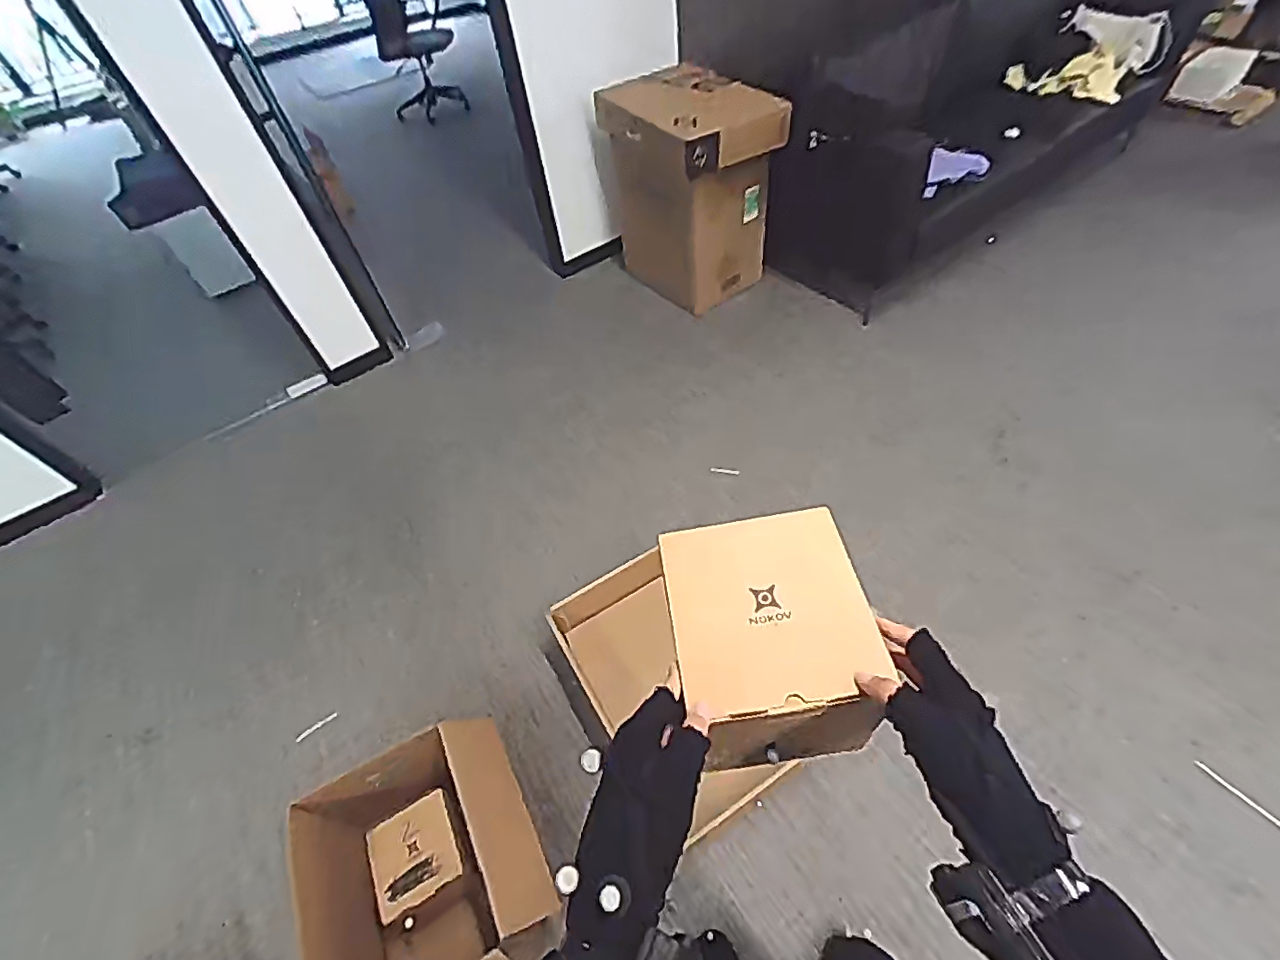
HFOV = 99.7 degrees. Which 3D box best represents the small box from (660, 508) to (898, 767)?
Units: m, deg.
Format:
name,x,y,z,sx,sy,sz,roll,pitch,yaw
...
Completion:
name,x,y,z,sx,sy,sz,roll,pitch,yaw
small box,0.117,0.155,0.526,0.168,0.176,0.179,-10,50,1
